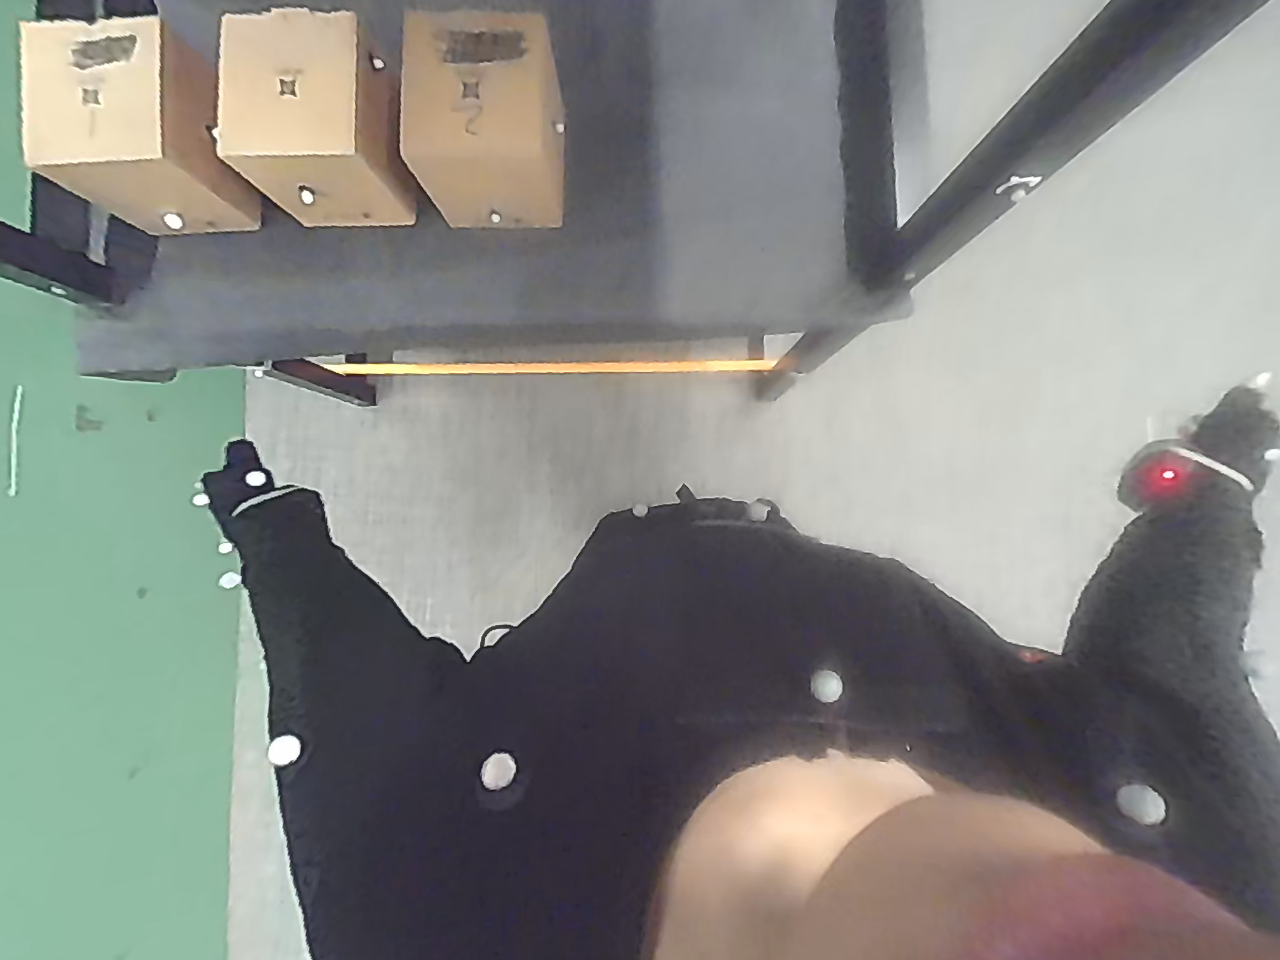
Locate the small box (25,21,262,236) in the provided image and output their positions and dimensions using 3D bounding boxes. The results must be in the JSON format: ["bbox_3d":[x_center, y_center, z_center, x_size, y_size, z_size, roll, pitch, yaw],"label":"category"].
[{"bbox_3d":[-0.634,-0.449,0.713,0.168,0.176,0.179,-3,87,1],"label":"small box"}]

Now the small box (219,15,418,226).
[{"bbox_3d":[-0.408,-0.456,0.713,0.168,0.176,0.179,0,86,0],"label":"small box"}]
